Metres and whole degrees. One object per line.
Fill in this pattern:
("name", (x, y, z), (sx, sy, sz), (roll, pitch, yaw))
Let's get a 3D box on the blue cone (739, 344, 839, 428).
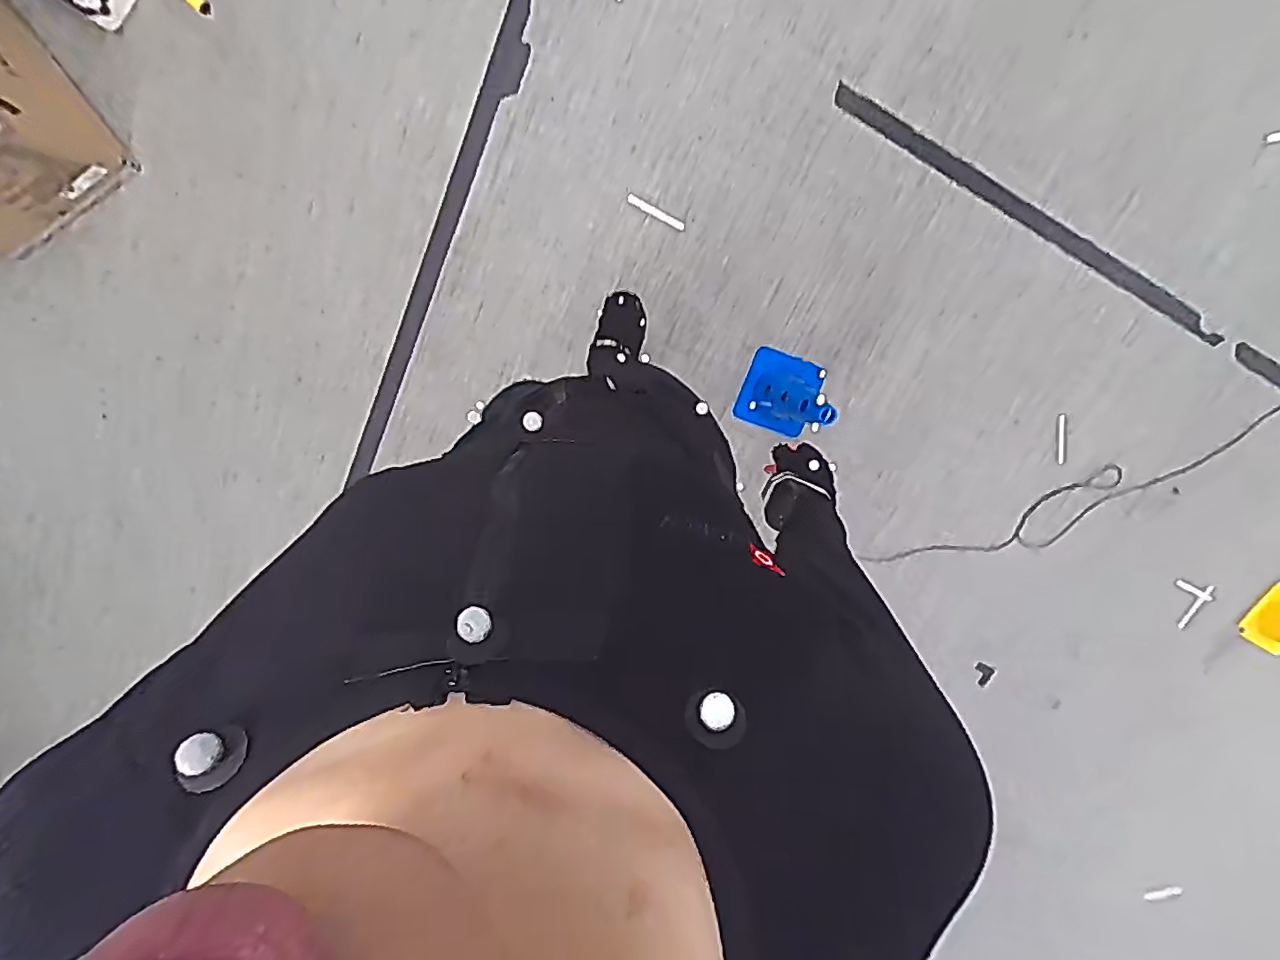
("blue cone", (0.372, -0.197, 1.256), (0.193, 0.380, 0.192), (20, 104, -7))
